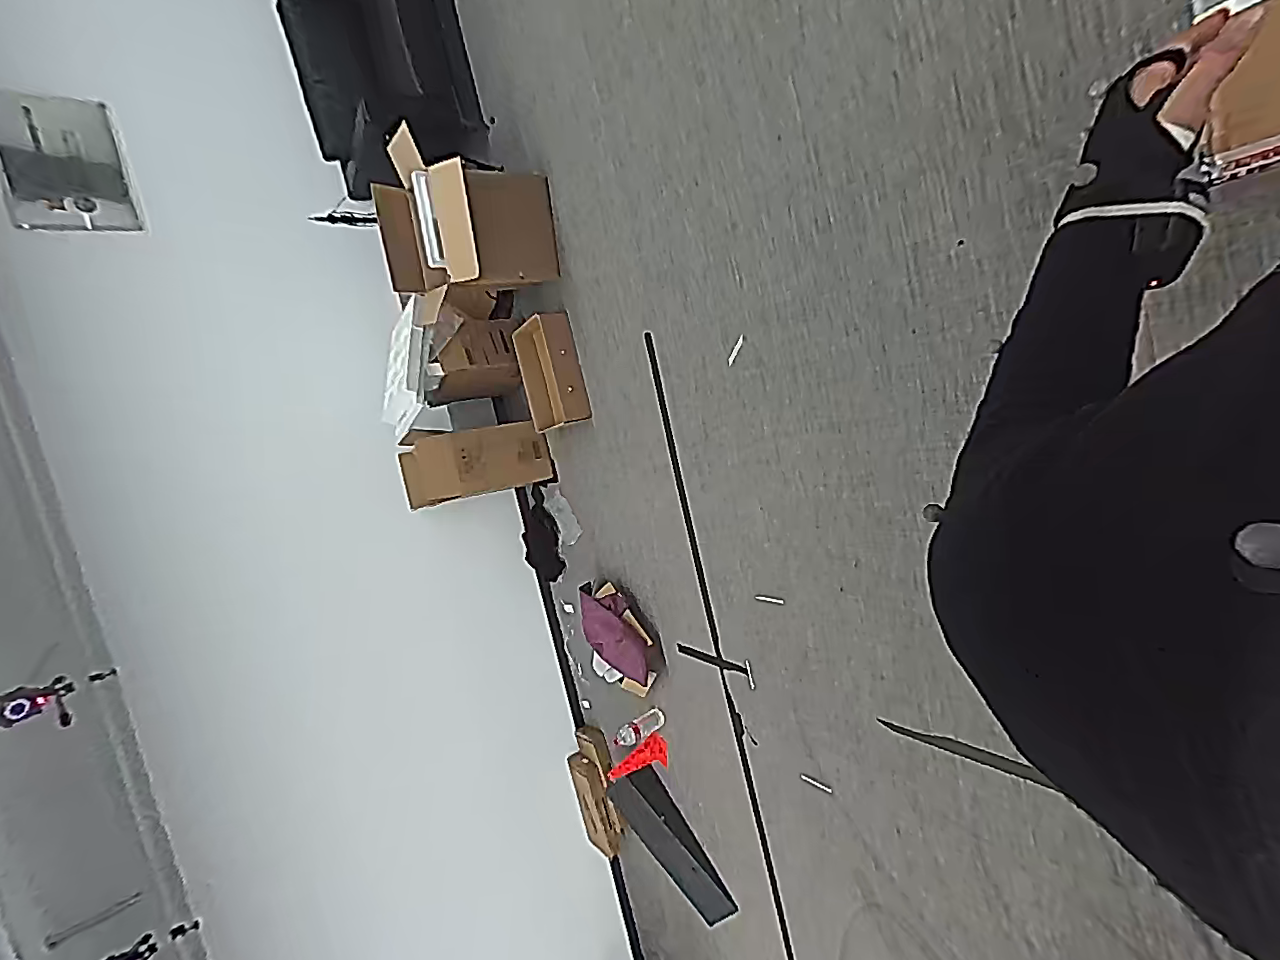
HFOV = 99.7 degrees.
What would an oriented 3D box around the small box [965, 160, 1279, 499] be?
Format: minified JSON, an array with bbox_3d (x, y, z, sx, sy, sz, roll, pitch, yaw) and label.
[{"bbox_3d":[0.393,-0.122,0.435,0.179,0.176,0.168,-27,122,20],"label":"small box"}]
